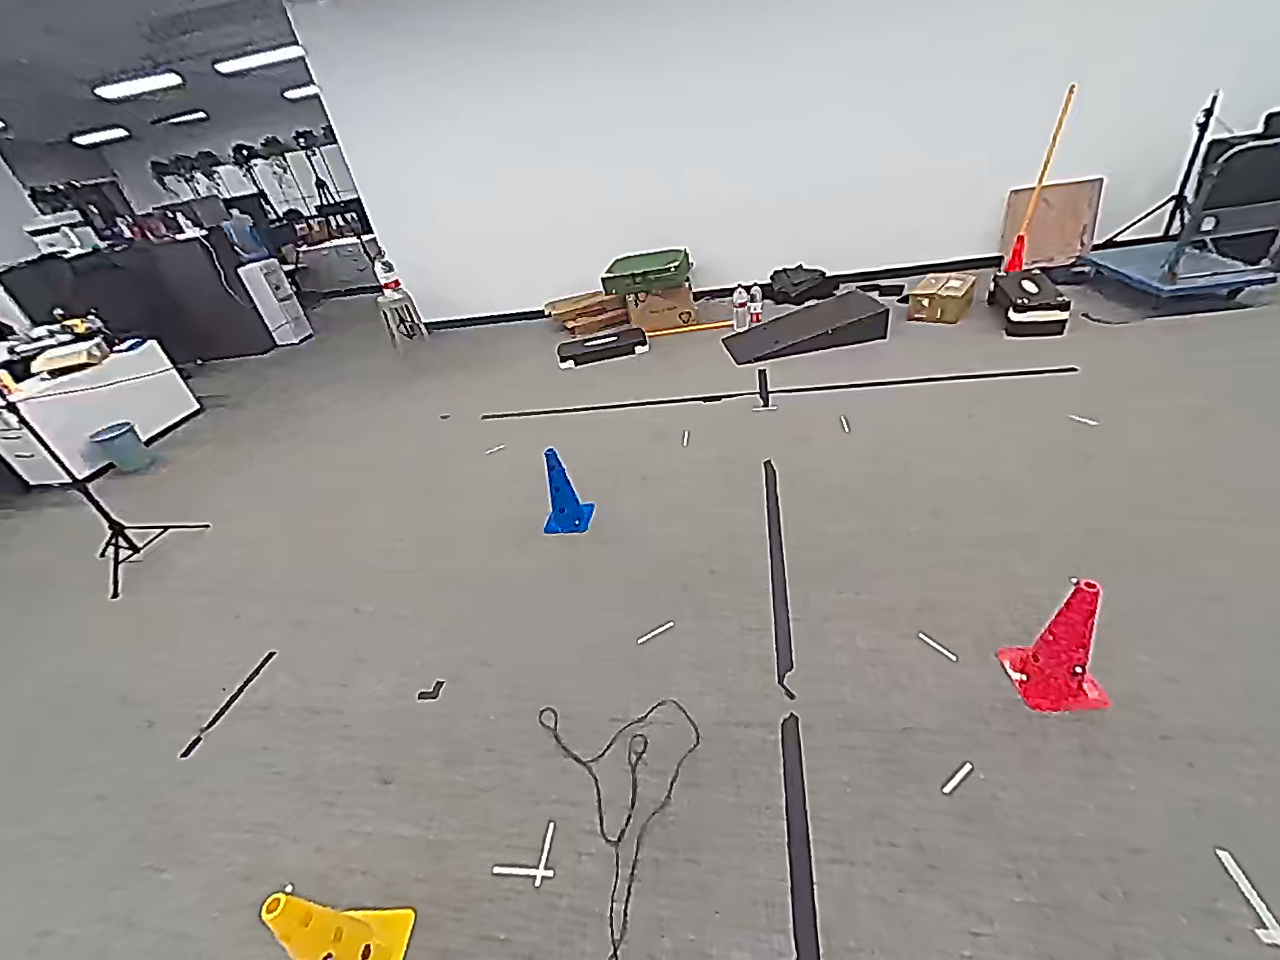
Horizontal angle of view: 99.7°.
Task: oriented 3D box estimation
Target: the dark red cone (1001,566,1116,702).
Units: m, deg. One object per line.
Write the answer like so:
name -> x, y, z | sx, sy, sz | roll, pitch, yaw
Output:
dark red cone -> 1.089, 0.368, 1.364 | 0.201, 0.394, 0.202 | -8, 33, 6

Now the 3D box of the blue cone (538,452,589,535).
blue cone -> -0.357, 0.044, 2.314 | 0.192, 0.380, 0.193 | -4, 34, 13
